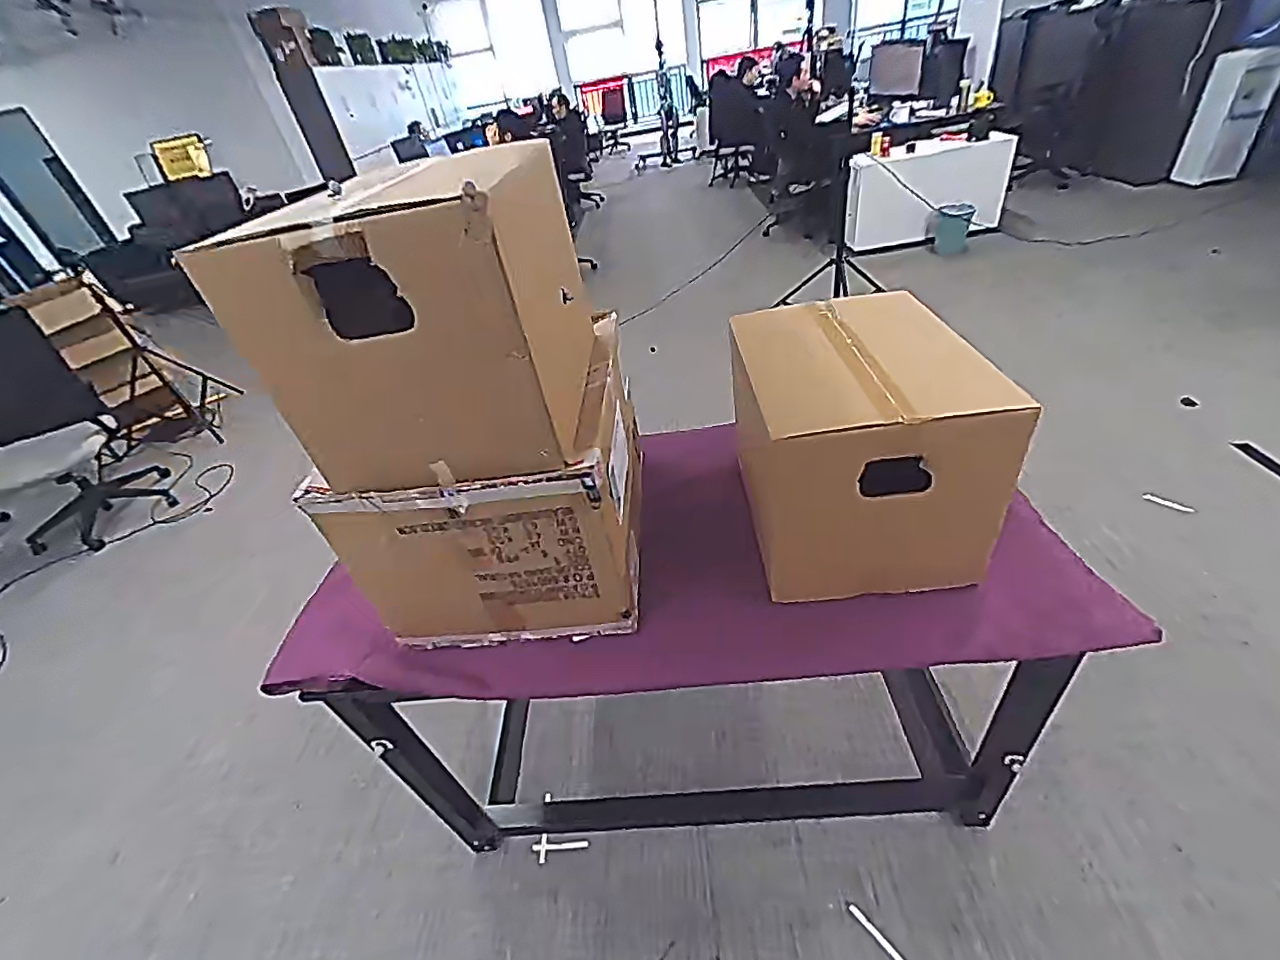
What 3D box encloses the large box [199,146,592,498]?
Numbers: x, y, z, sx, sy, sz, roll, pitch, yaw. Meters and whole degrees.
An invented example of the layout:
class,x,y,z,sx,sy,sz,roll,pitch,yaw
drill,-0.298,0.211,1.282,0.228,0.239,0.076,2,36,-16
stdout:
class,x,y,z,sx,sy,sz,roll,pitch,yaw
large box,-0.253,-0.232,0.746,0.320,0.320,0.408,-9,38,6
